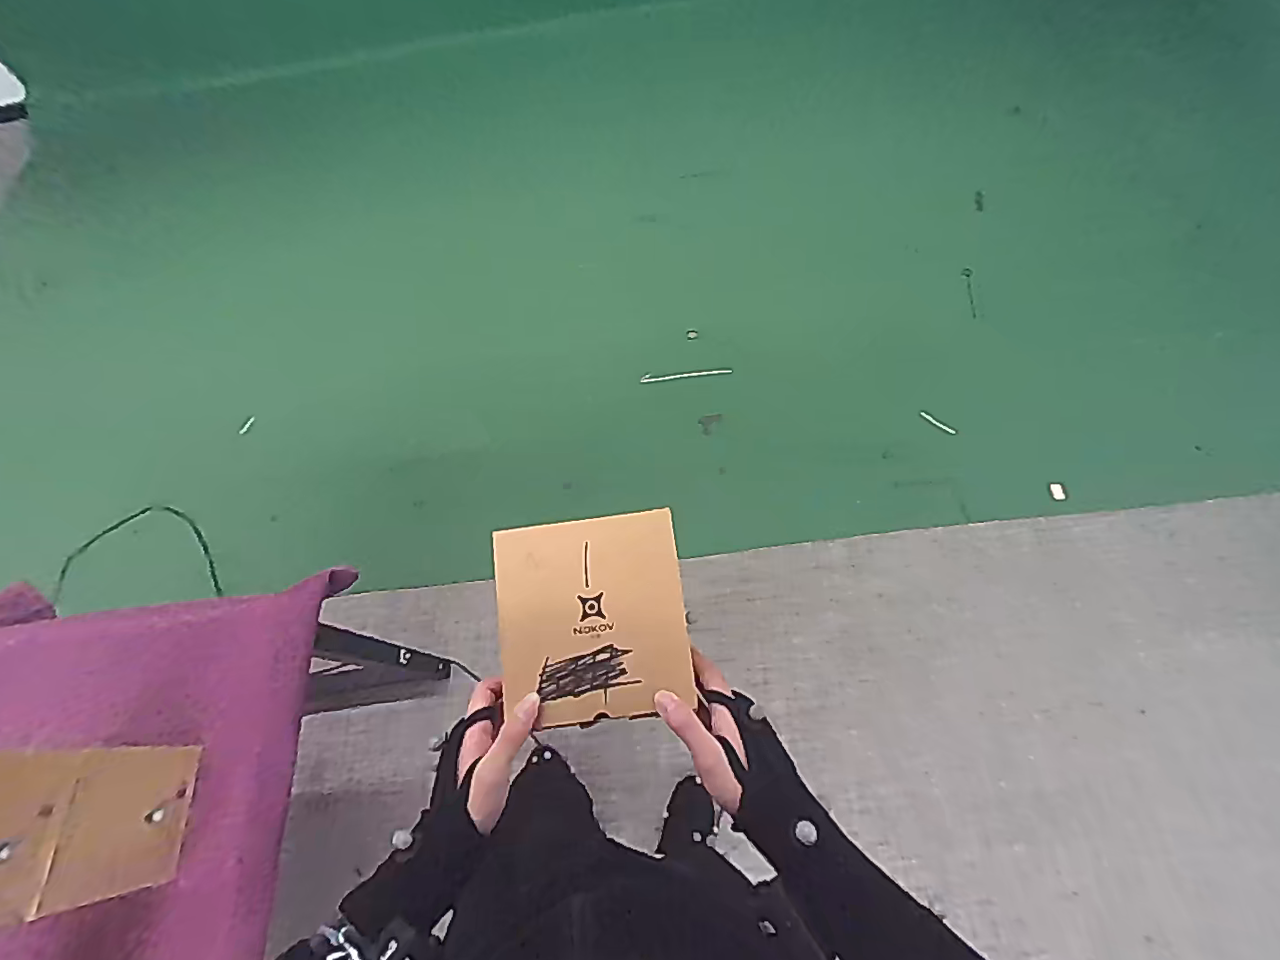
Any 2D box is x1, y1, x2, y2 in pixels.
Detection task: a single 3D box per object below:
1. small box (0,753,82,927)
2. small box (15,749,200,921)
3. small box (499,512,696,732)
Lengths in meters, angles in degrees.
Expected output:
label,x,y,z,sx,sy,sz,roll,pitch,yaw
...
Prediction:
label,x,y,z,sx,sy,sz,roll,pitch,yaw
small box,-0.751,0.376,0.545,0.179,0.176,0.168,-8,63,3
small box,-0.730,0.444,0.692,0.179,0.176,0.168,-8,65,3
small box,-0.037,0.139,0.550,0.168,0.176,0.179,-6,76,0
